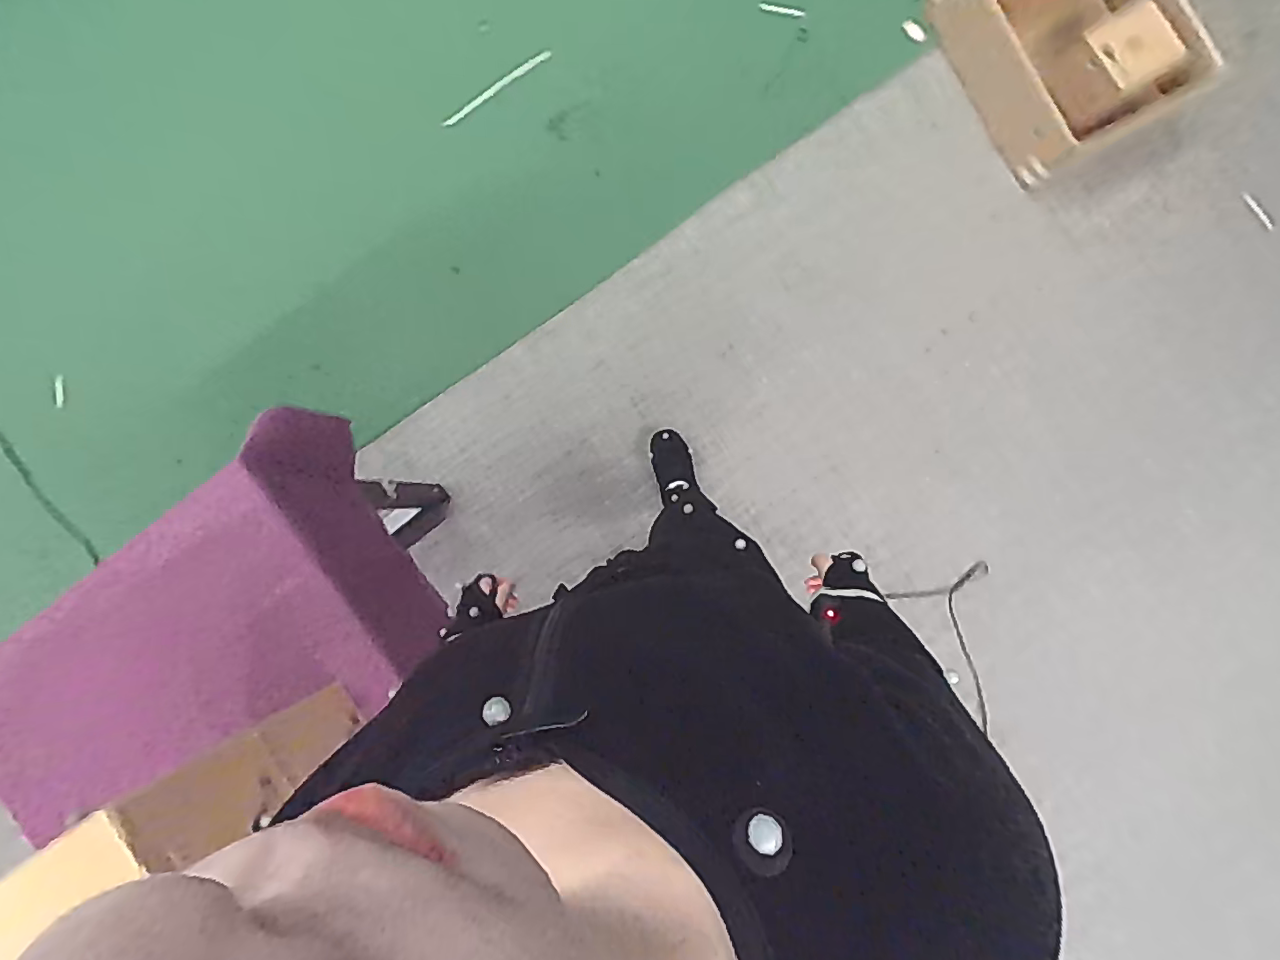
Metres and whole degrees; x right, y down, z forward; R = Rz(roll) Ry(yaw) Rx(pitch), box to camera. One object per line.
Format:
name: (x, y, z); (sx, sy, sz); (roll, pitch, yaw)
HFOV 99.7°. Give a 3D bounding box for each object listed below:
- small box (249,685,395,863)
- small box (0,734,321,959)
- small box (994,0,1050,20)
small box: (-0.469, 0.409, 0.715); (0.179, 0.176, 0.168); (-35, 88, 2)
small box: (-0.480, 0.403, 0.552); (0.179, 0.176, 0.168); (-35, 87, 1)
small box: (1.009, -1.328, 1.363); (0.179, 0.176, 0.168); (-25, 89, 2)
